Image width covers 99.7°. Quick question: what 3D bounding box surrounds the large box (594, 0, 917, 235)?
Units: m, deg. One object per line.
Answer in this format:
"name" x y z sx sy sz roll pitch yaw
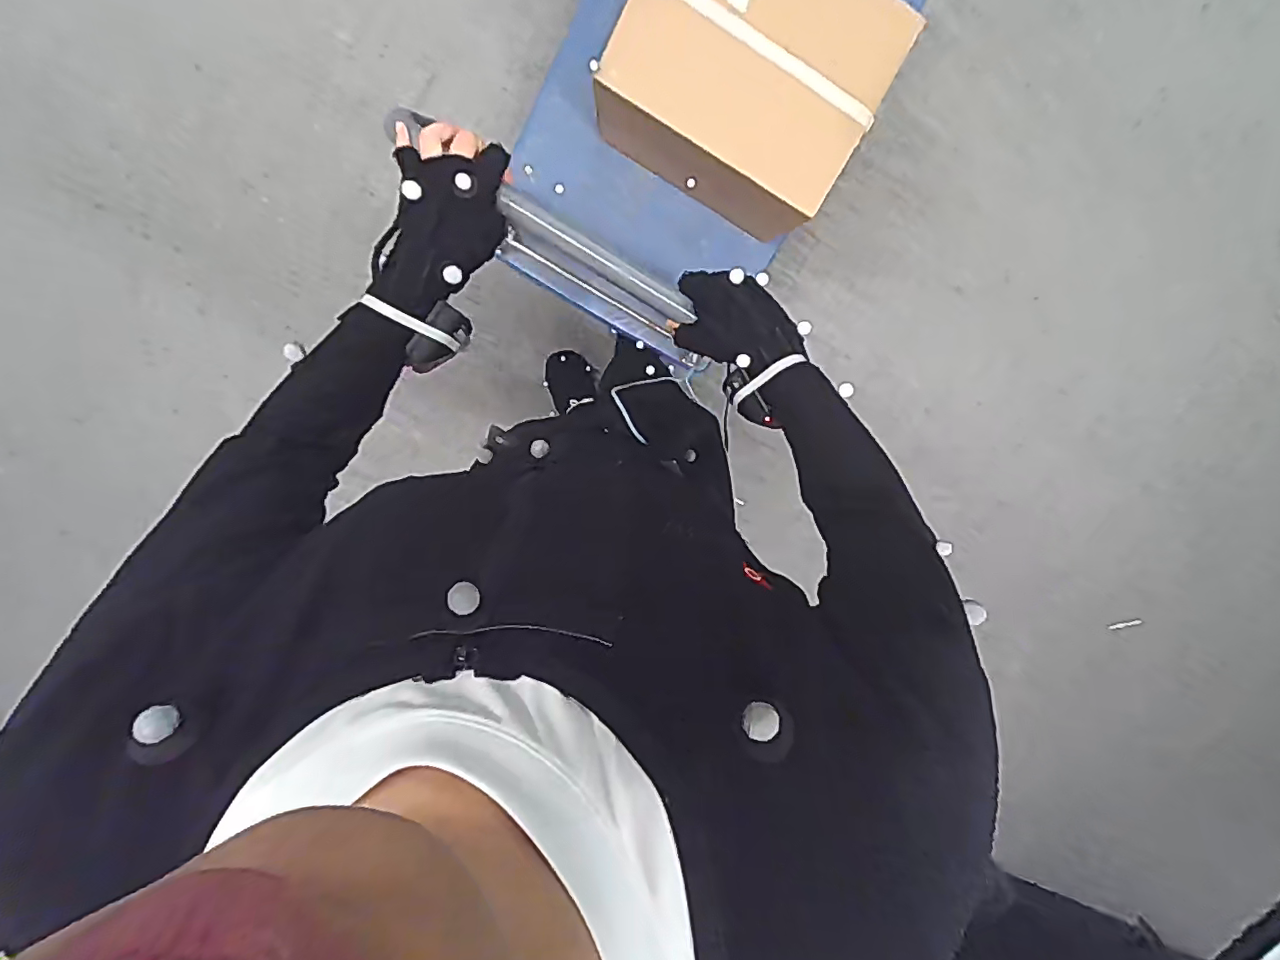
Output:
"large box" 0.173 -0.694 0.962 0.408 0.320 0.320 27 104 -9
